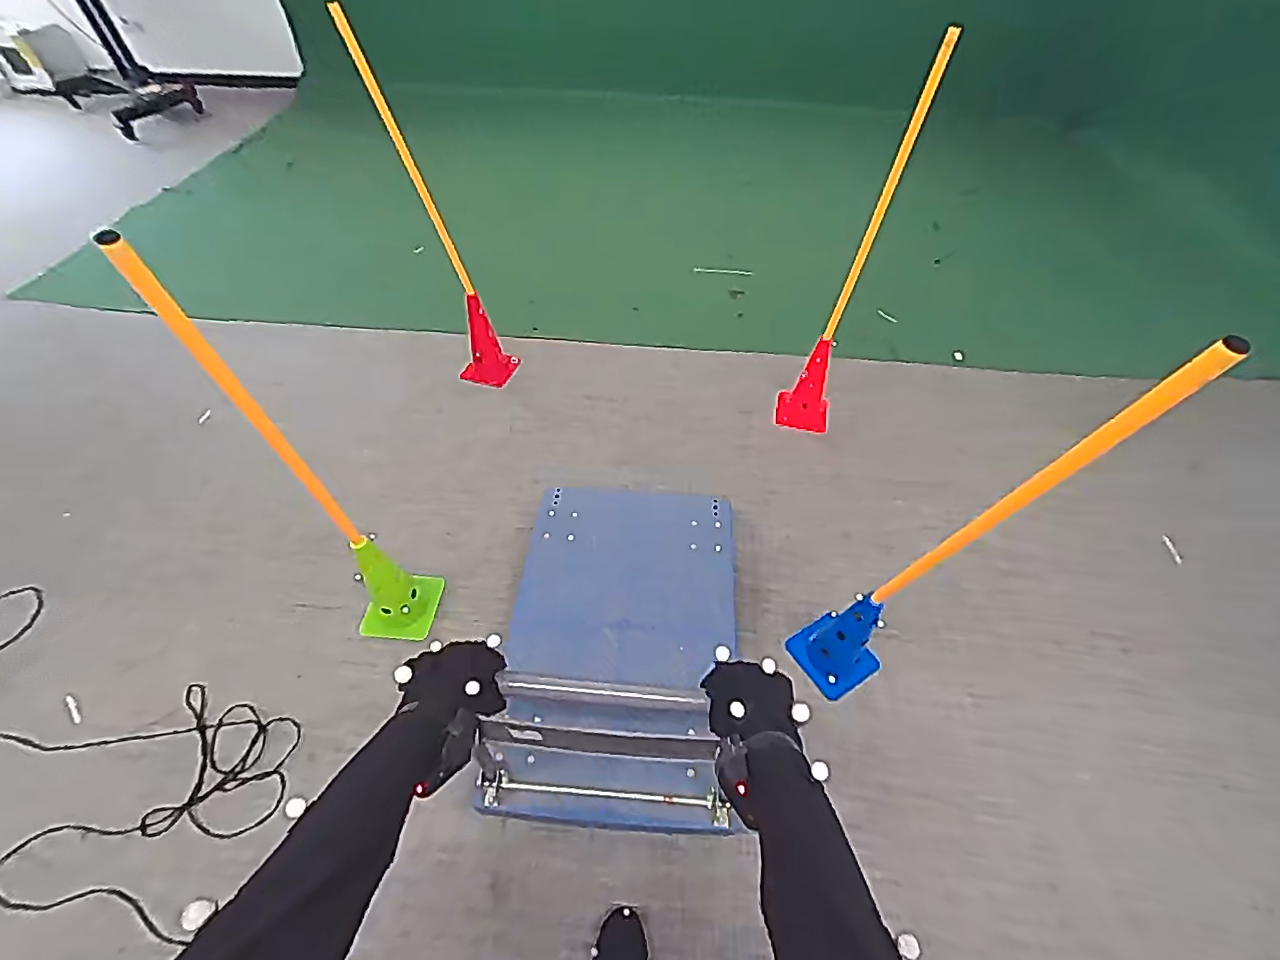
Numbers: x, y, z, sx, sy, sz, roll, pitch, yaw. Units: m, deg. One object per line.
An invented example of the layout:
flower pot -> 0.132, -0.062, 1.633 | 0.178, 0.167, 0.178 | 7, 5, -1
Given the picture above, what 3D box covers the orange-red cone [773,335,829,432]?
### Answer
orange-red cone -> 0.636, -0.377, 2.006 | 0.198, 0.360, 0.199 | 13, 53, 10
